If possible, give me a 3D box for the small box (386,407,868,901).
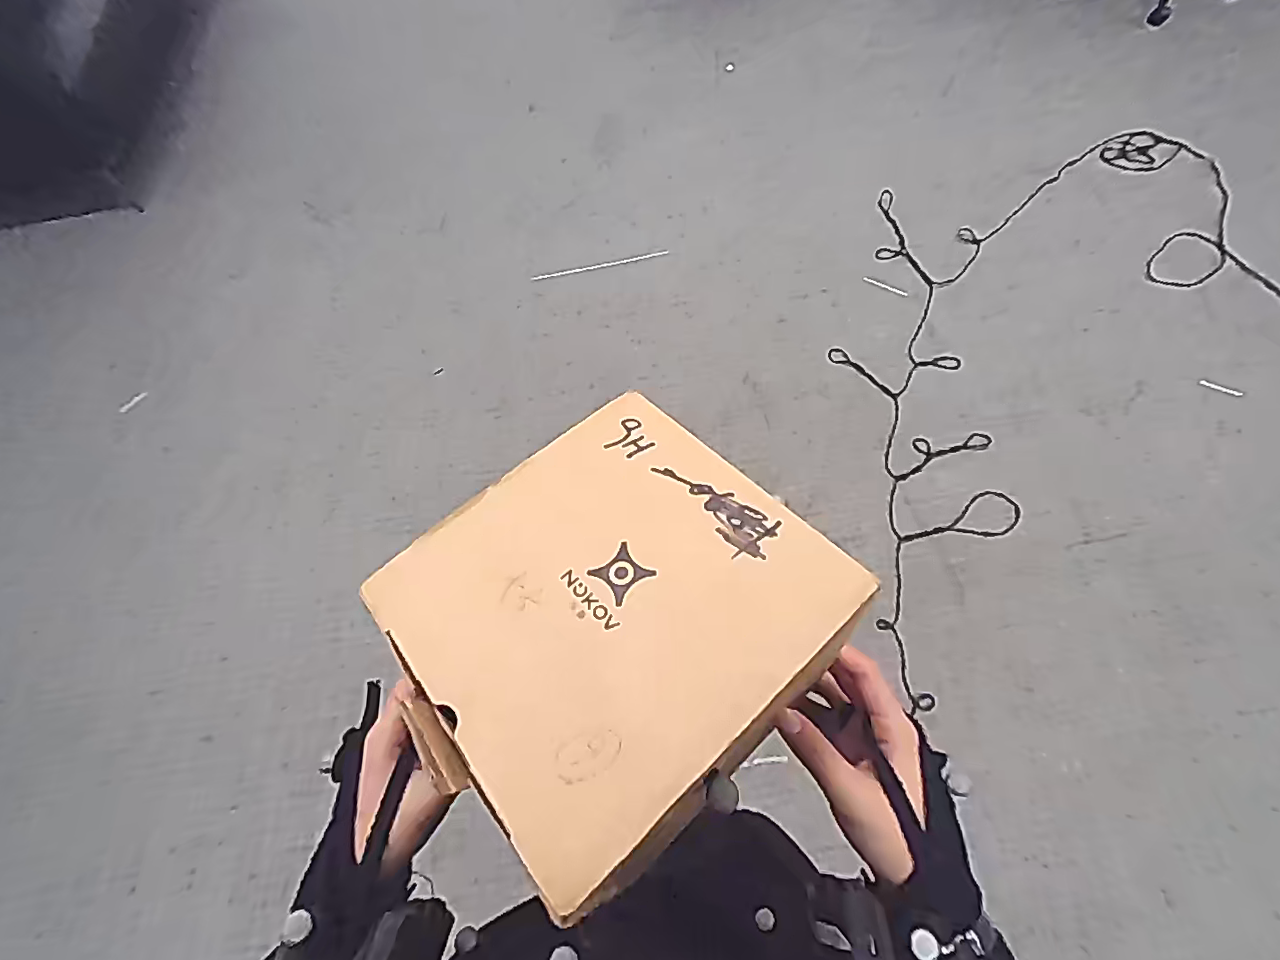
[{"bbox_3d":[-0.002,0.098,0.320,0.179,0.176,0.168,-39,60,-18],"label":"small box"}]
